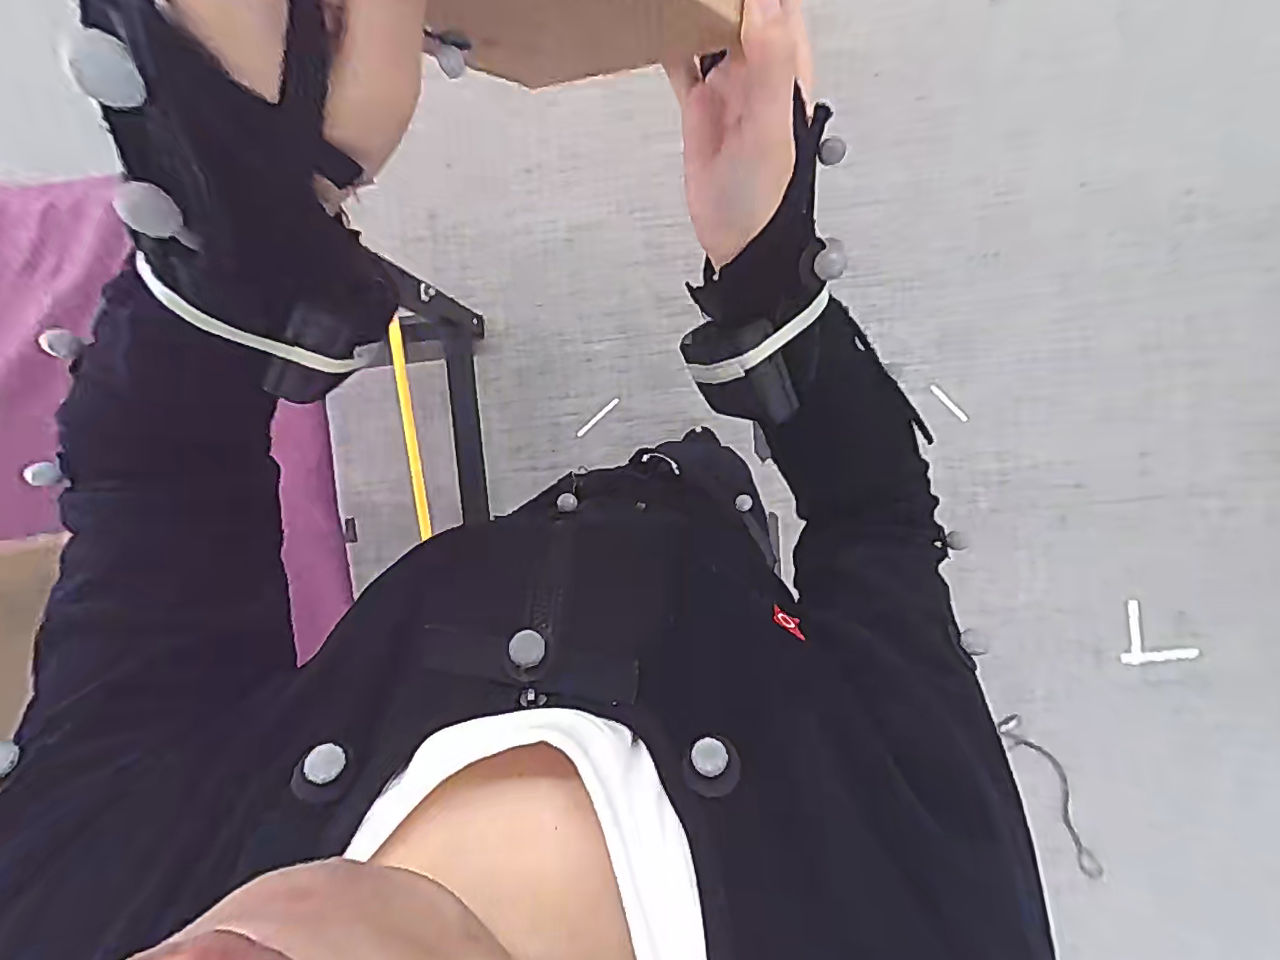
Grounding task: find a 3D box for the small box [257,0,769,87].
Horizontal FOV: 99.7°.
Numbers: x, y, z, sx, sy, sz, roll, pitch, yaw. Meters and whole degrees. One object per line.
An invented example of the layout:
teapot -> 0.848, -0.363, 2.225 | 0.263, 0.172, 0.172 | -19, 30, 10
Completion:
small box -> -0.053, -0.266, 0.193 | 0.176, 0.179, 0.168 | 24, 119, 38
